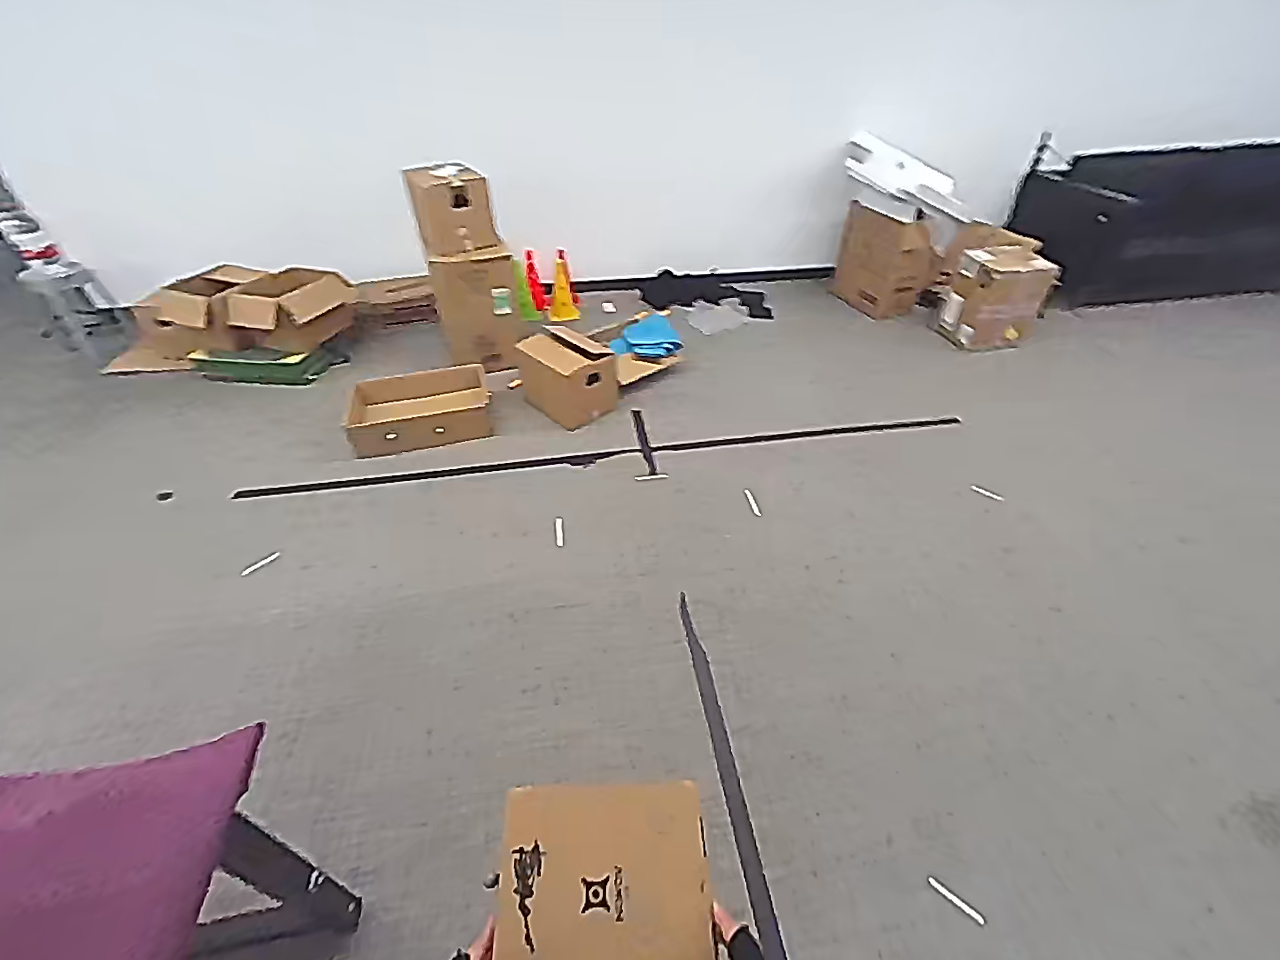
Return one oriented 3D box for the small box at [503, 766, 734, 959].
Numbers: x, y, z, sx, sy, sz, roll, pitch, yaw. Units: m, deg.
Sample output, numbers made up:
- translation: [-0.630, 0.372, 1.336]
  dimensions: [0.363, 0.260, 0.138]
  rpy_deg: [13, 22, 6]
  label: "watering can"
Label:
- translation: [-0.028, 0.374, 0.493]
  dimensions: [0.179, 0.176, 0.168]
  rpy_deg: [2, 46, -8]
  label: "small box"
